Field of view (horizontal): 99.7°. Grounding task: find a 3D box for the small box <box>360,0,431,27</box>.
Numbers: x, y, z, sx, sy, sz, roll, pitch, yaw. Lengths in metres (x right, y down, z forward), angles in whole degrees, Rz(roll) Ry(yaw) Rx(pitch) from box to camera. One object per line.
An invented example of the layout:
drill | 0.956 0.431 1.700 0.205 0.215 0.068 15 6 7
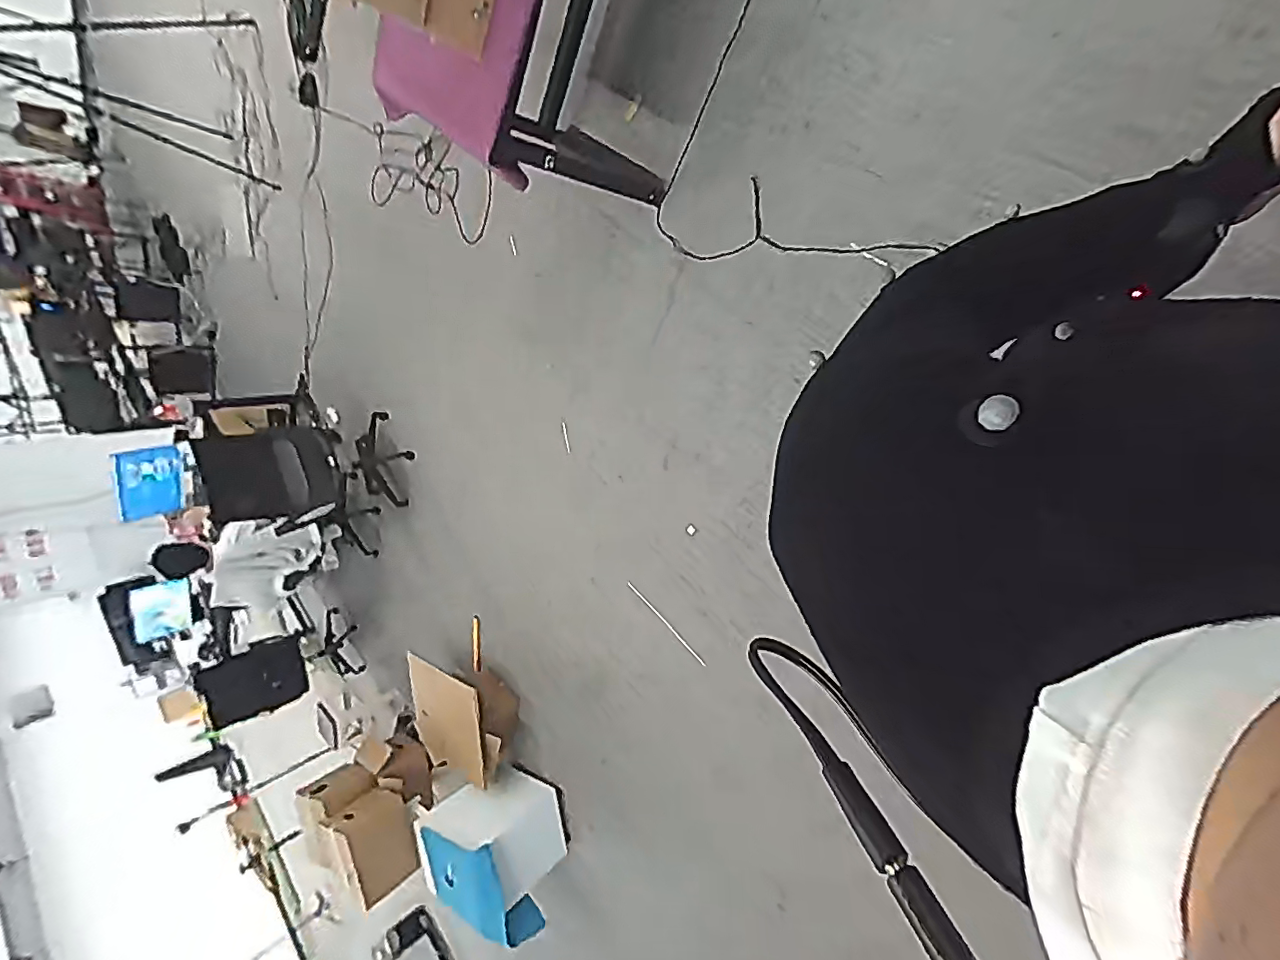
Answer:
small box | -0.527 -1.060 1.089 0.179 0.176 0.168 44 124 23
